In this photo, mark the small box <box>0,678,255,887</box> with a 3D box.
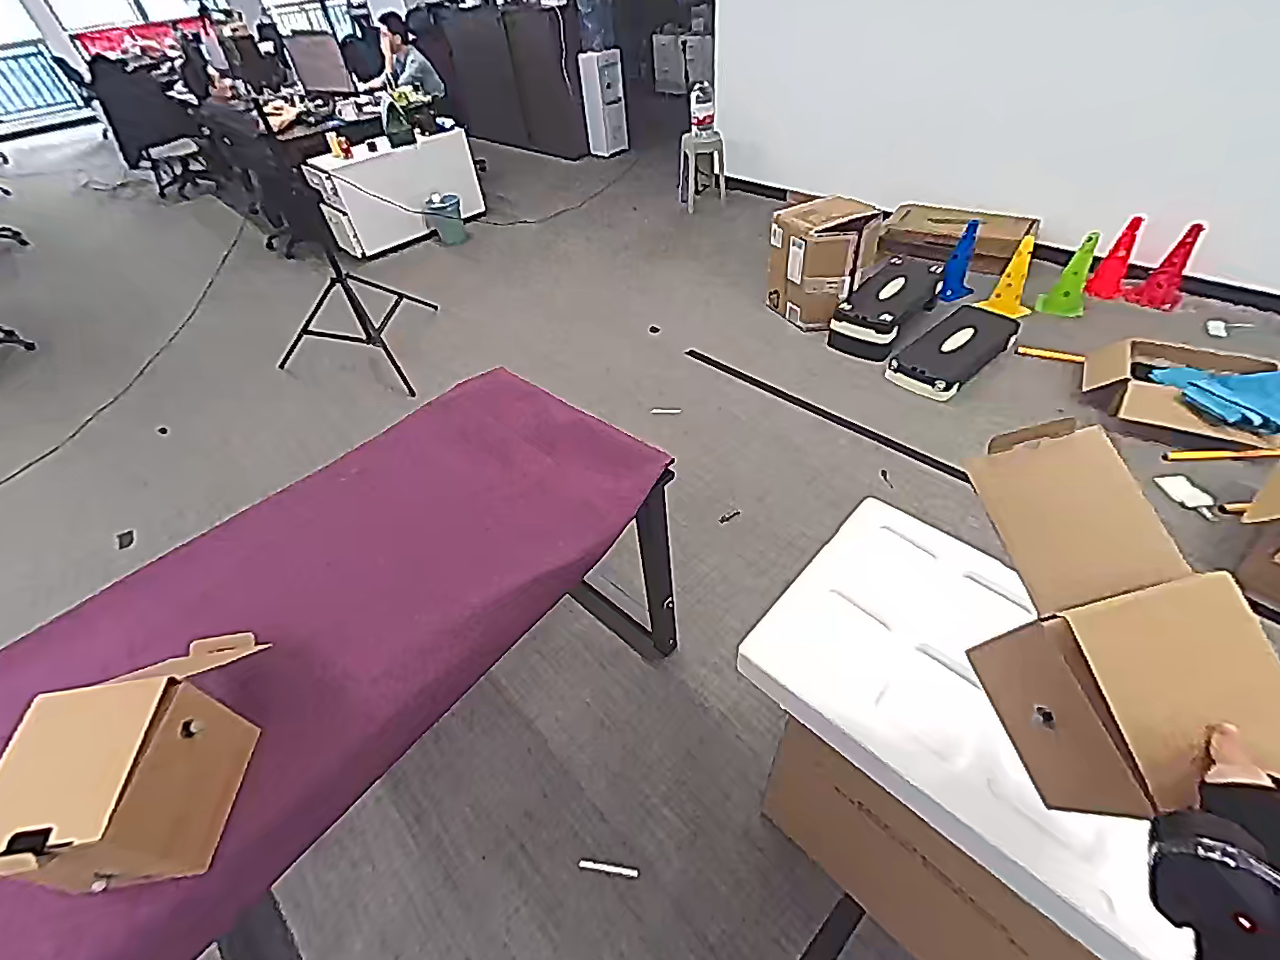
[{"bbox_3d":[-0.631,0.377,0.676,0.168,0.176,0.179,-9,44,0],"label":"small box"}]
